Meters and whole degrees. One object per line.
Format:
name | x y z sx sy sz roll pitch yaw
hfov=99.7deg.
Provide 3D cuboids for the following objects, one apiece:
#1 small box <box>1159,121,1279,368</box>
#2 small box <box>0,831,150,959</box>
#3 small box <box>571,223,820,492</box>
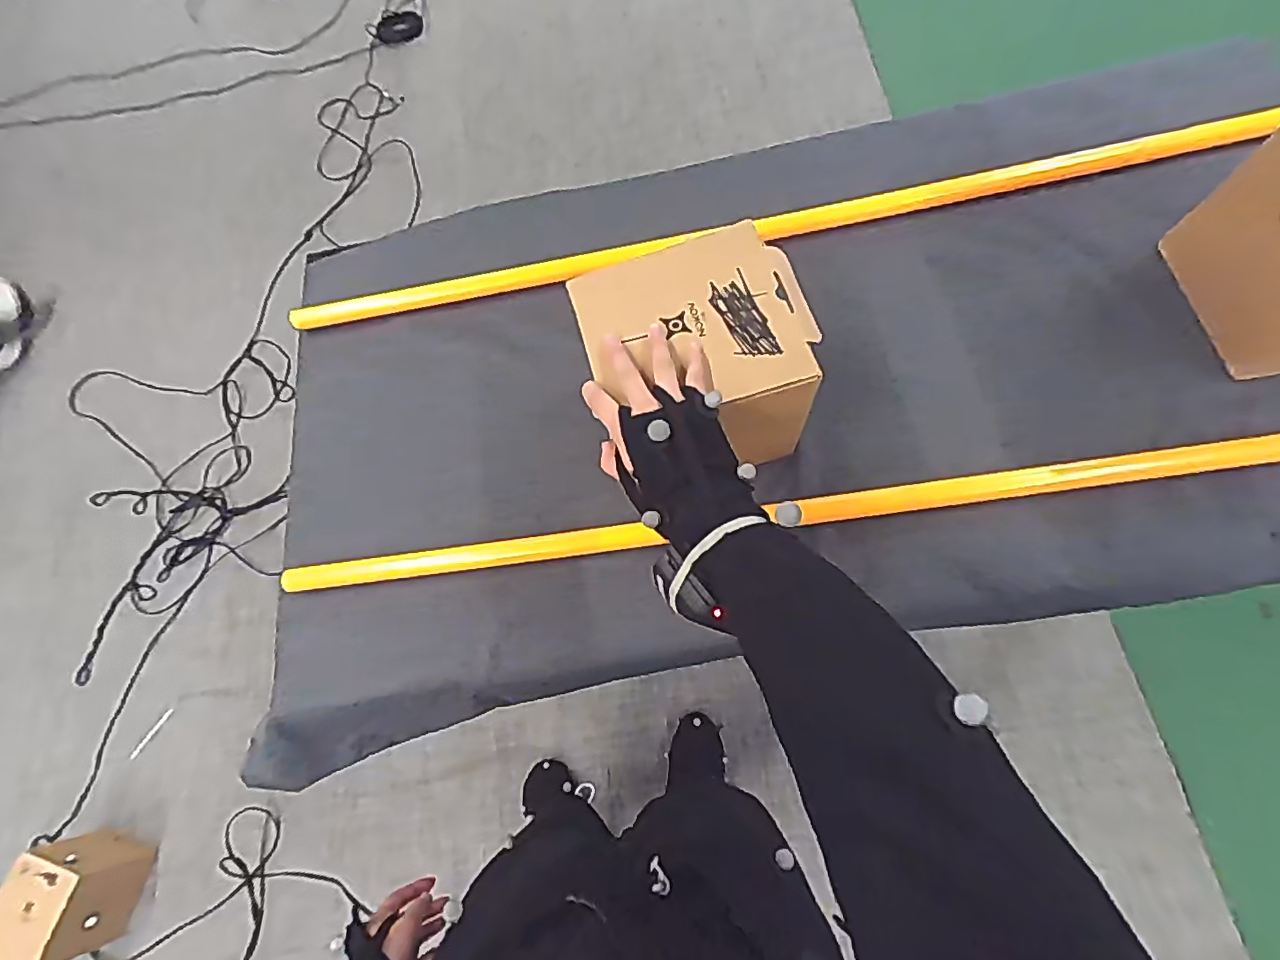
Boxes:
small box | 0.640 -0.217 0.482 0.168 0.176 0.179 -9 69 6
small box | -1.209 0.885 1.146 0.168 0.176 0.179 11 73 12
small box | 0.050 -0.105 0.529 0.179 0.176 0.168 -17 69 2
